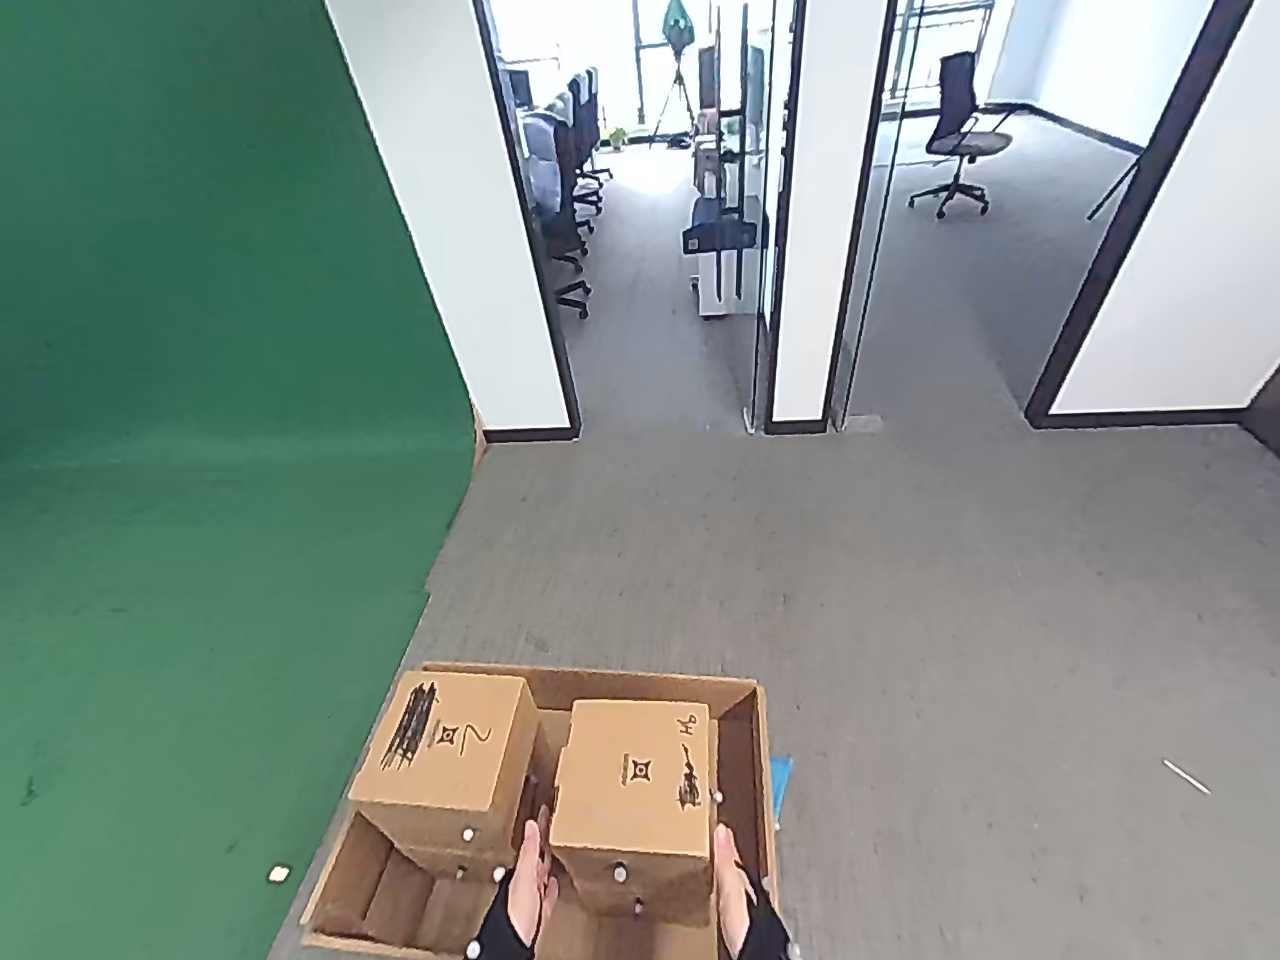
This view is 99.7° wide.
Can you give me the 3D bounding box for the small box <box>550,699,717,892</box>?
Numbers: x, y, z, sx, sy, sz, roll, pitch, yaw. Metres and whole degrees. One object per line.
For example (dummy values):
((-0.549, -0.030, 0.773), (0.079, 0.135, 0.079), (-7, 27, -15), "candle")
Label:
((0.005, 0.398, 0.684), (0.179, 0.176, 0.168), (-2, 42, 9), "small box")
